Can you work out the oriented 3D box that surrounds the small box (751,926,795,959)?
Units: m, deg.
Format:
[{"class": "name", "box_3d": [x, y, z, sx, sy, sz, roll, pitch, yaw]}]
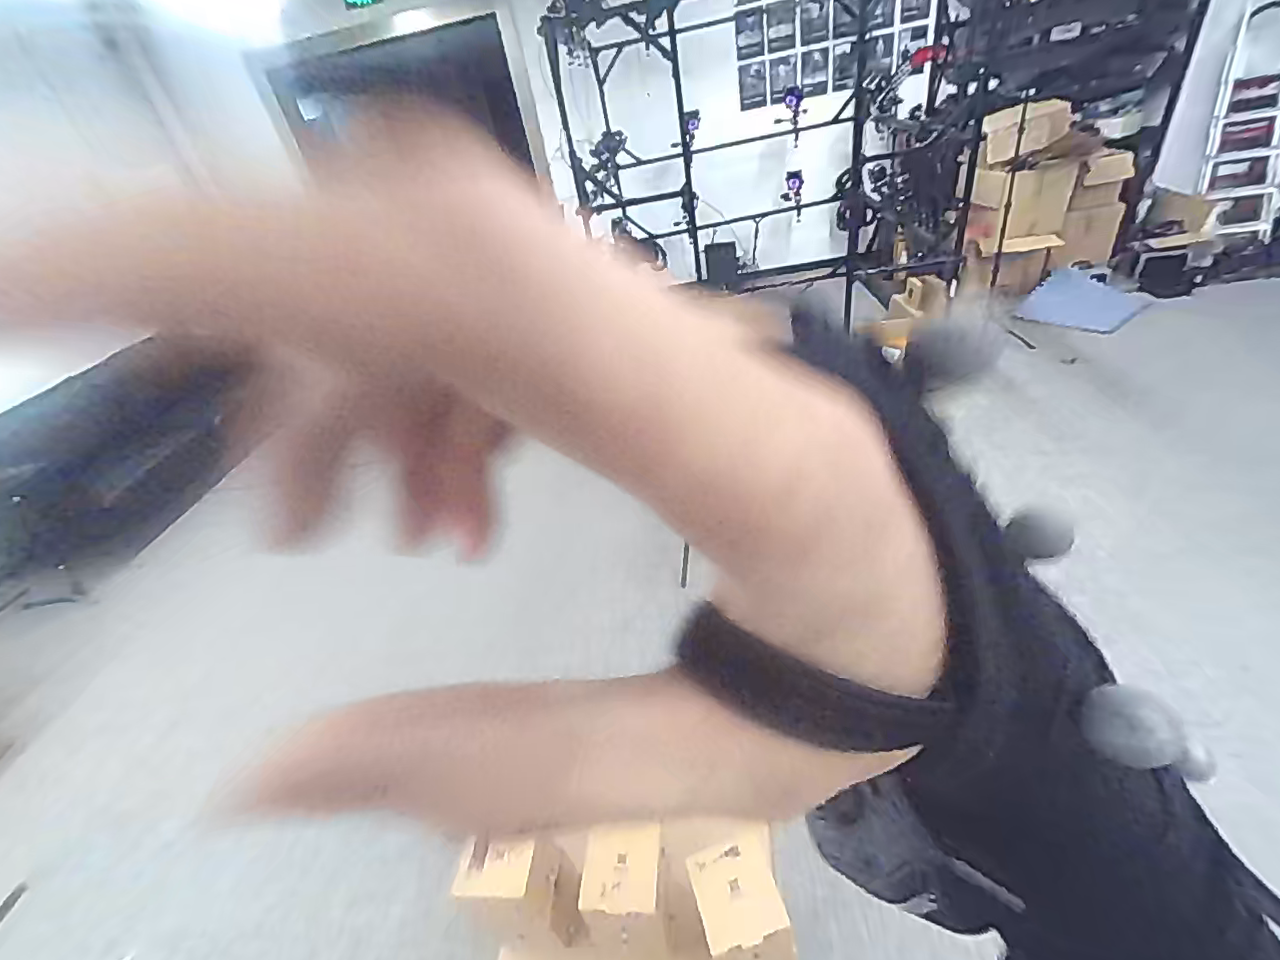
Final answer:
[{"class": "small box", "box_3d": [0.242, 1.029, 1.245, 0.168, 0.176, 0.179, -18, 35, -7]}]

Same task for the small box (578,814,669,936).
[{"class": "small box", "box_3d": [-0.029, 0.893, 1.228, 0.168, 0.176, 0.179, -4, 36, 11]}]

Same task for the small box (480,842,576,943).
[{"class": "small box", "box_3d": [-0.272, 1.046, 1.371, 0.179, 0.176, 0.168, -7, 35, 10]}]

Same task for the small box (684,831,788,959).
[{"class": "small box", "box_3d": [0.206, 0.898, 1.153, 0.168, 0.176, 0.179, -16, 36, -5]}]
